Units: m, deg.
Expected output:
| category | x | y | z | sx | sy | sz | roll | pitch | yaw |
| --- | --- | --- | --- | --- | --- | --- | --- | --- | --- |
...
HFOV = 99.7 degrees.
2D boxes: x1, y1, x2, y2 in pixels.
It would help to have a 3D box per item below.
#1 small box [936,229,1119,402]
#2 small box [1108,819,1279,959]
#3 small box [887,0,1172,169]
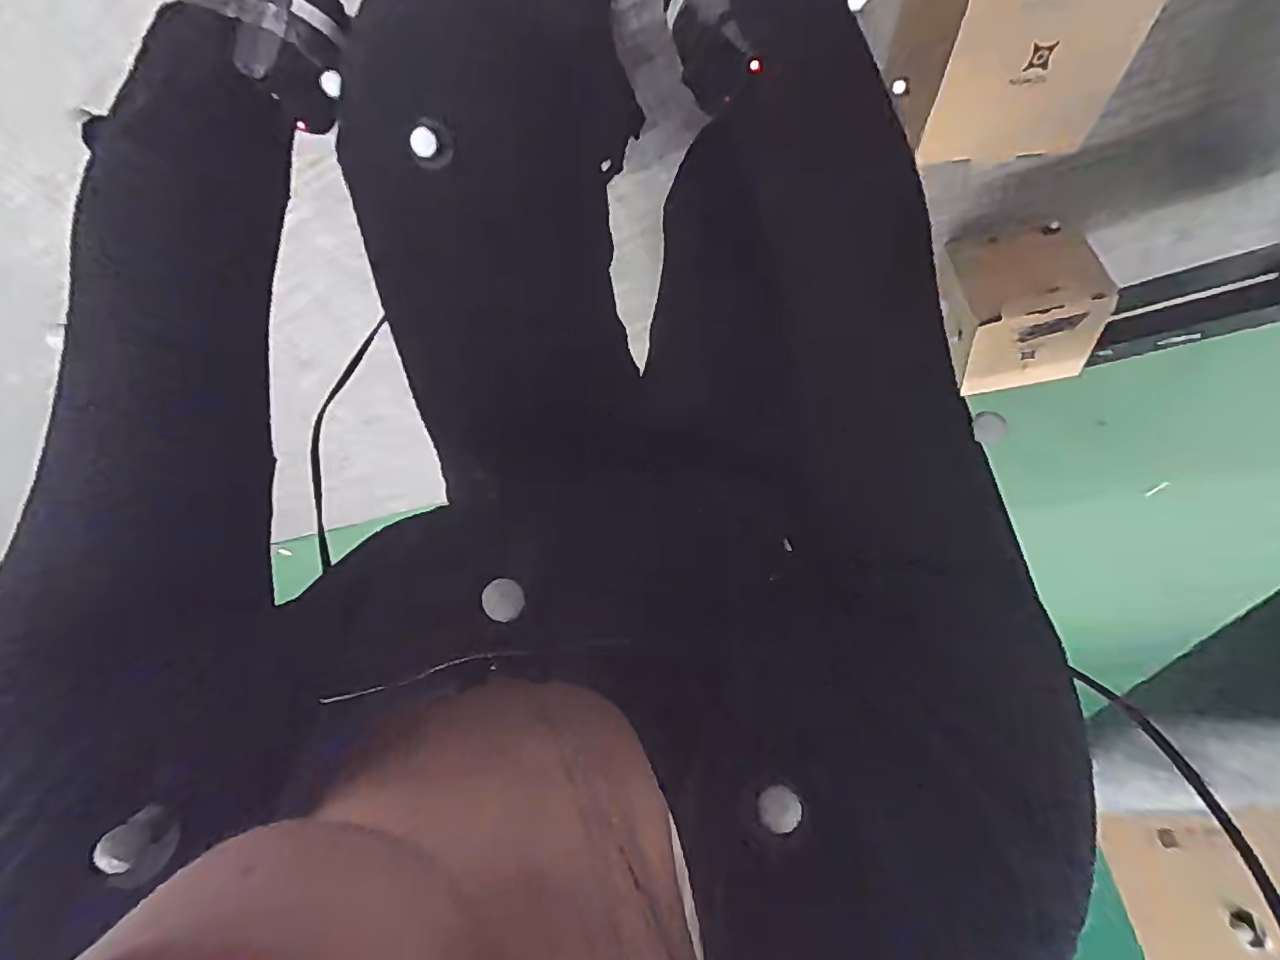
| category | x | y | z | sx | sy | sz | roll | pitch | yaw |
| --- | --- | --- | --- | --- | --- | --- | --- | --- | --- |
| small box | 0.565 | -0.251 | 0.821 | 0.168 | 0.176 | 0.179 | -9 | 147 | 18 |
| small box | 0.540 | 0.369 | 0.430 | 0.179 | 0.176 | 0.168 | 12 | 144 | -17 |
| small box | 0.358 | -0.438 | 0.525 | 0.168 | 0.176 | 0.179 | -2 | 147 | 5 |
